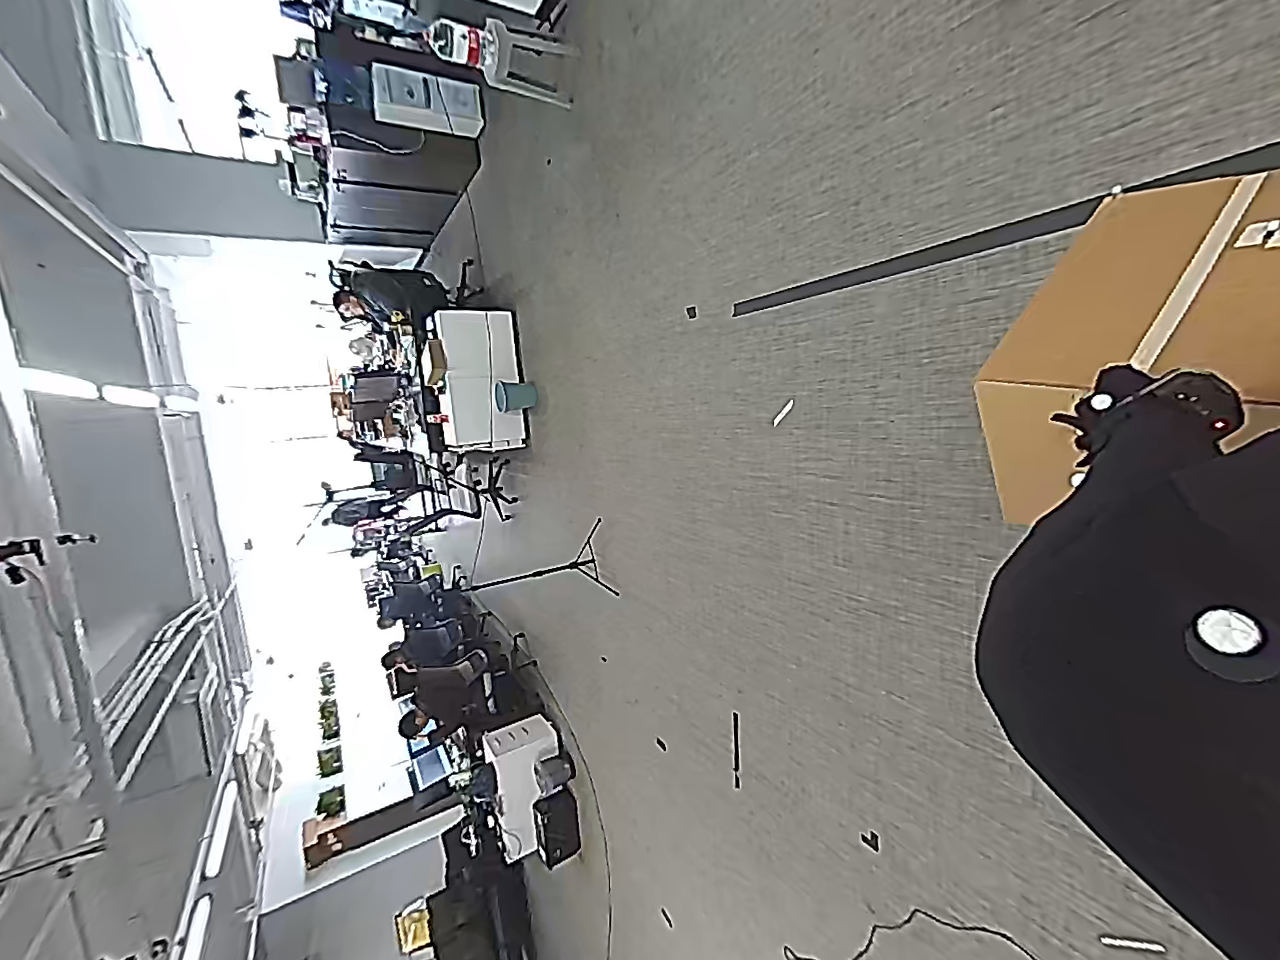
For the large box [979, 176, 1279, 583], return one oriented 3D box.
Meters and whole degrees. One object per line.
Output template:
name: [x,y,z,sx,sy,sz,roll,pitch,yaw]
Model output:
large box: [0.739,-0.141,0.732,0.320,0.408,0.320,24,157,53]
